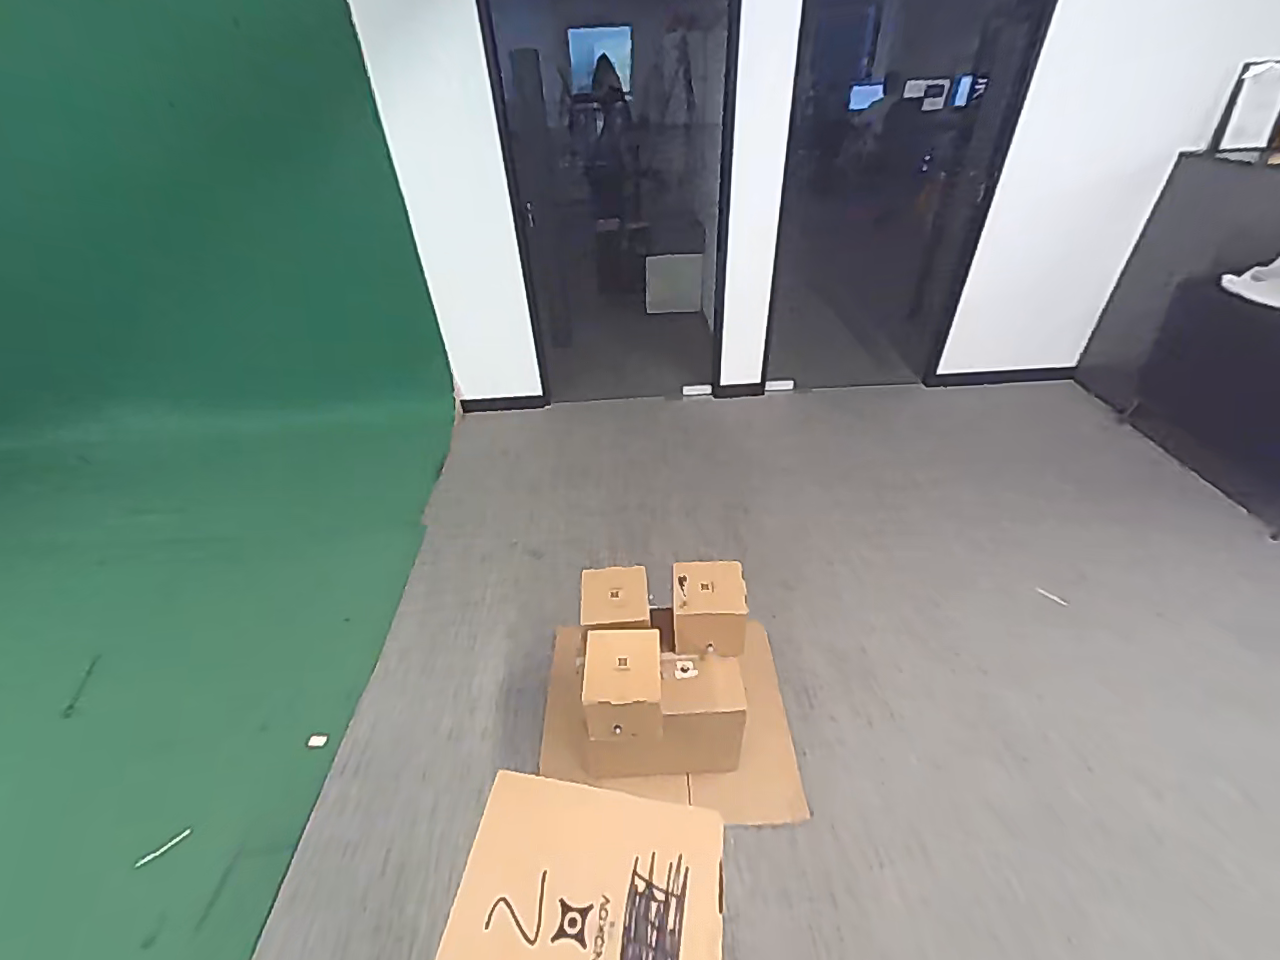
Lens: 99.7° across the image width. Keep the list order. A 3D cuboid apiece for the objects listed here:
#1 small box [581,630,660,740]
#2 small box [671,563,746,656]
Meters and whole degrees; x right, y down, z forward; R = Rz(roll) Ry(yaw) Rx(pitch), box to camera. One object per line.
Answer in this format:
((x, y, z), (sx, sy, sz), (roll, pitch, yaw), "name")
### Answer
((-0.039, 0.460, 1.218), (0.168, 0.176, 0.179), (-1, 40, 1), "small box")
((0.168, 0.329, 1.370), (0.179, 0.176, 0.168), (0, 38, 4), "small box")
